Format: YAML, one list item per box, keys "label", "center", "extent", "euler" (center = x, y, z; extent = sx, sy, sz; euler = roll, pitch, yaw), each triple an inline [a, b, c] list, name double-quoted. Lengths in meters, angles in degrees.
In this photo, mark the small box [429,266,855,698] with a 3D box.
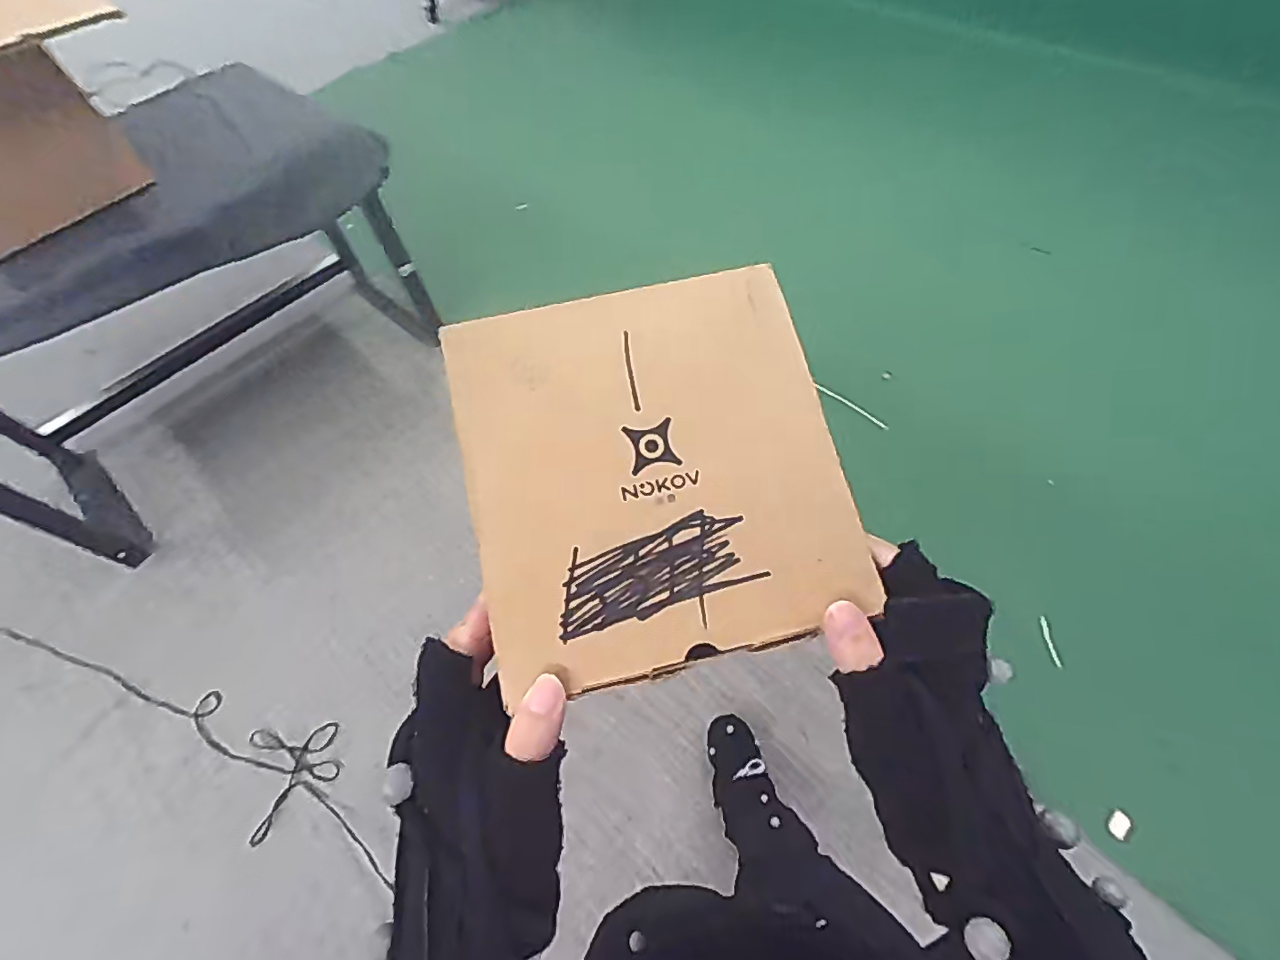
- label: "small box"
  center: [-0.005, 0.010, 0.325]
  extent: [0.168, 0.176, 0.179]
  euler: [-13, 76, -5]
